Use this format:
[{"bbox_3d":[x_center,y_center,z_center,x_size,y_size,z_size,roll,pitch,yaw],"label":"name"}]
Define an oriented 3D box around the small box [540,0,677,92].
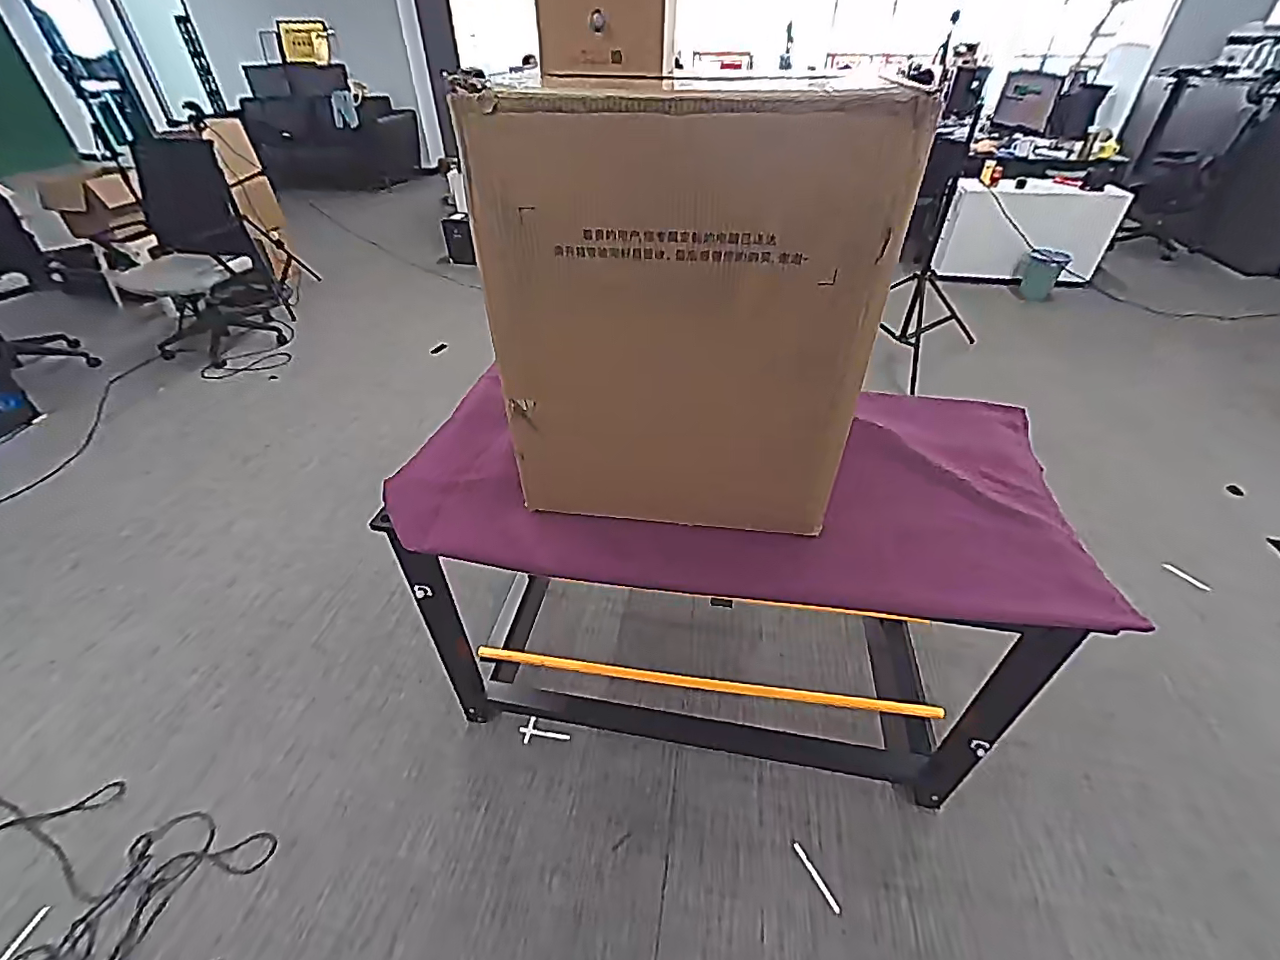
[{"bbox_3d":[-0.039,-0.642,0.738,0.168,0.176,0.179,5,40,6],"label":"small box"}]
